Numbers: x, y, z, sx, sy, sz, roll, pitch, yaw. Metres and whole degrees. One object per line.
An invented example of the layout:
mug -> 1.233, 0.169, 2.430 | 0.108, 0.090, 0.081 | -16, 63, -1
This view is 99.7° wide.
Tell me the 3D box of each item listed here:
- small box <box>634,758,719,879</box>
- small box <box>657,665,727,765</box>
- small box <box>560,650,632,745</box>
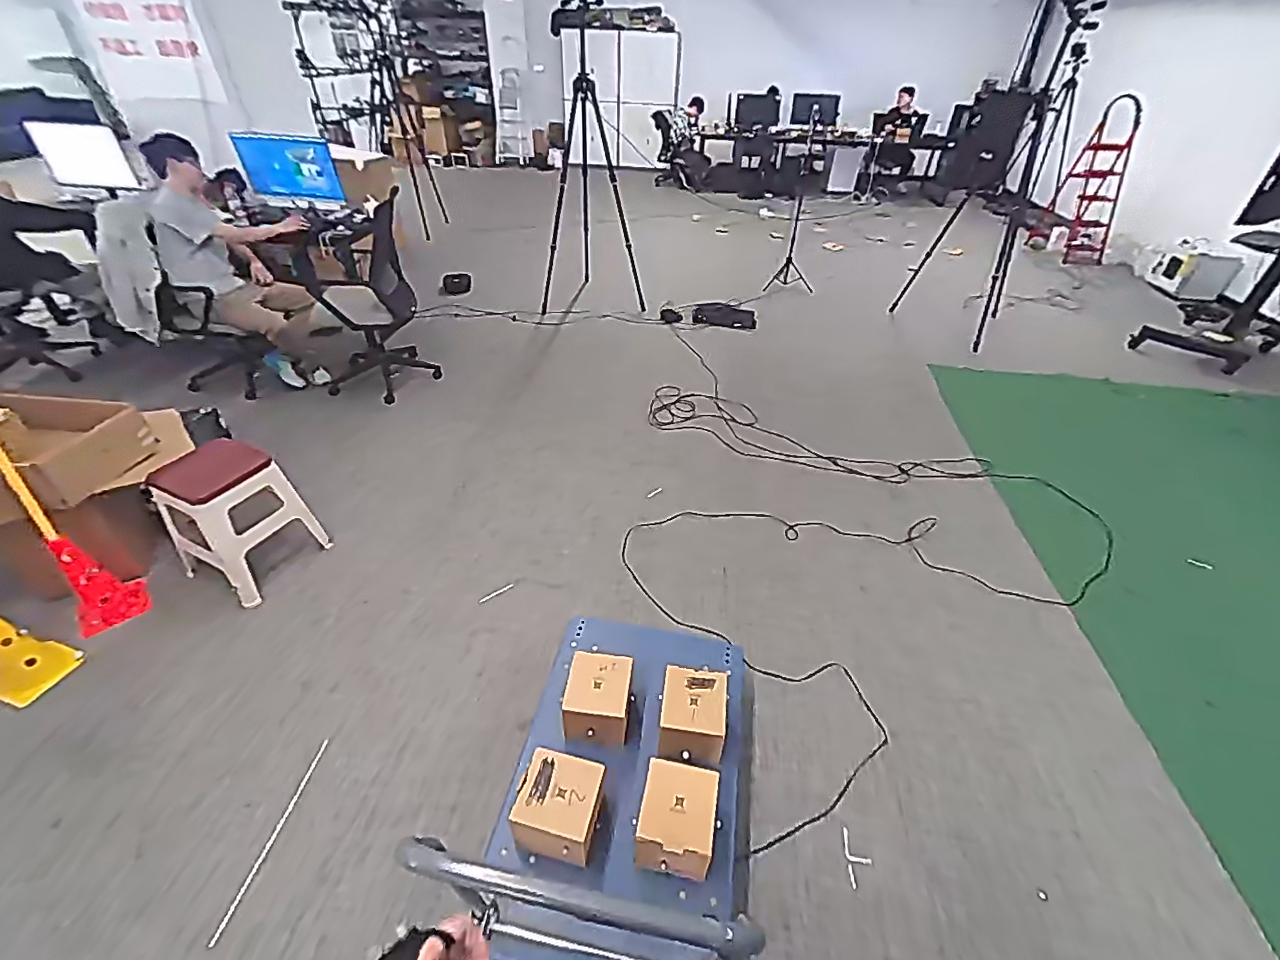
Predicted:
small box -> 0.083, 0.787, 1.257 | 0.168, 0.176, 0.179 | 9, 41, 8
small box -> 0.137, 0.629, 1.449 | 0.168, 0.176, 0.179 | 7, 41, 6
small box -> -0.115, 0.596, 1.476 | 0.168, 0.176, 0.179 | 6, 40, 4
